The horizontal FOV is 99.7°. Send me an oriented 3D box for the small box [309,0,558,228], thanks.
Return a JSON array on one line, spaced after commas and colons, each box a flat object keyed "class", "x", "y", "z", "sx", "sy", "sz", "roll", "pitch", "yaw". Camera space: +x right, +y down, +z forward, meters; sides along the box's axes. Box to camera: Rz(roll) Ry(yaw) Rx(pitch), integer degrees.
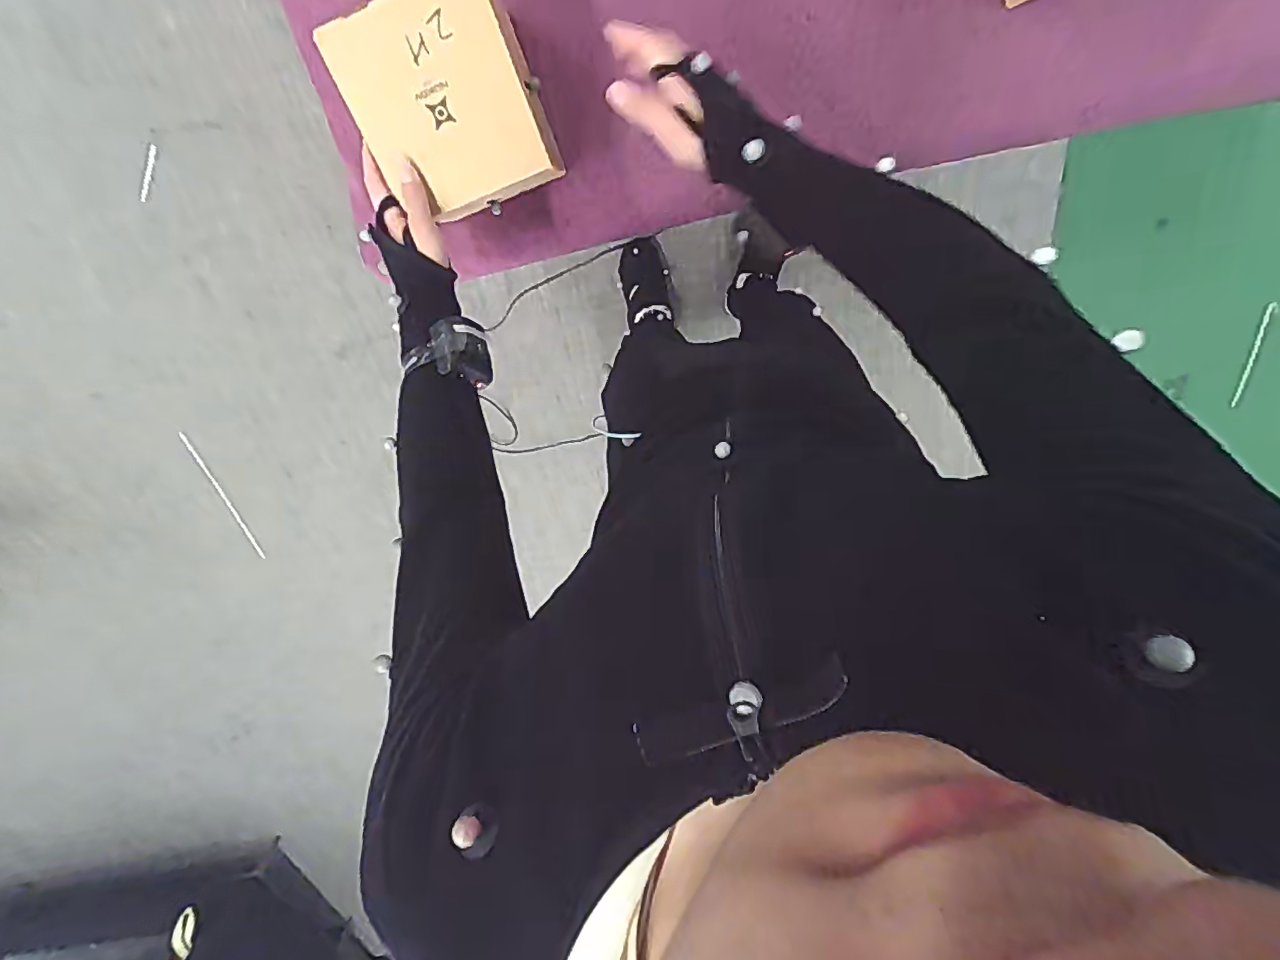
[{"class": "small box", "x": -0.198, "y": -0.395, "z": 0.584, "sx": 0.168, "sy": 0.176, "sz": 0.179, "roll": -18, "pitch": 117, "yaw": 6}]
